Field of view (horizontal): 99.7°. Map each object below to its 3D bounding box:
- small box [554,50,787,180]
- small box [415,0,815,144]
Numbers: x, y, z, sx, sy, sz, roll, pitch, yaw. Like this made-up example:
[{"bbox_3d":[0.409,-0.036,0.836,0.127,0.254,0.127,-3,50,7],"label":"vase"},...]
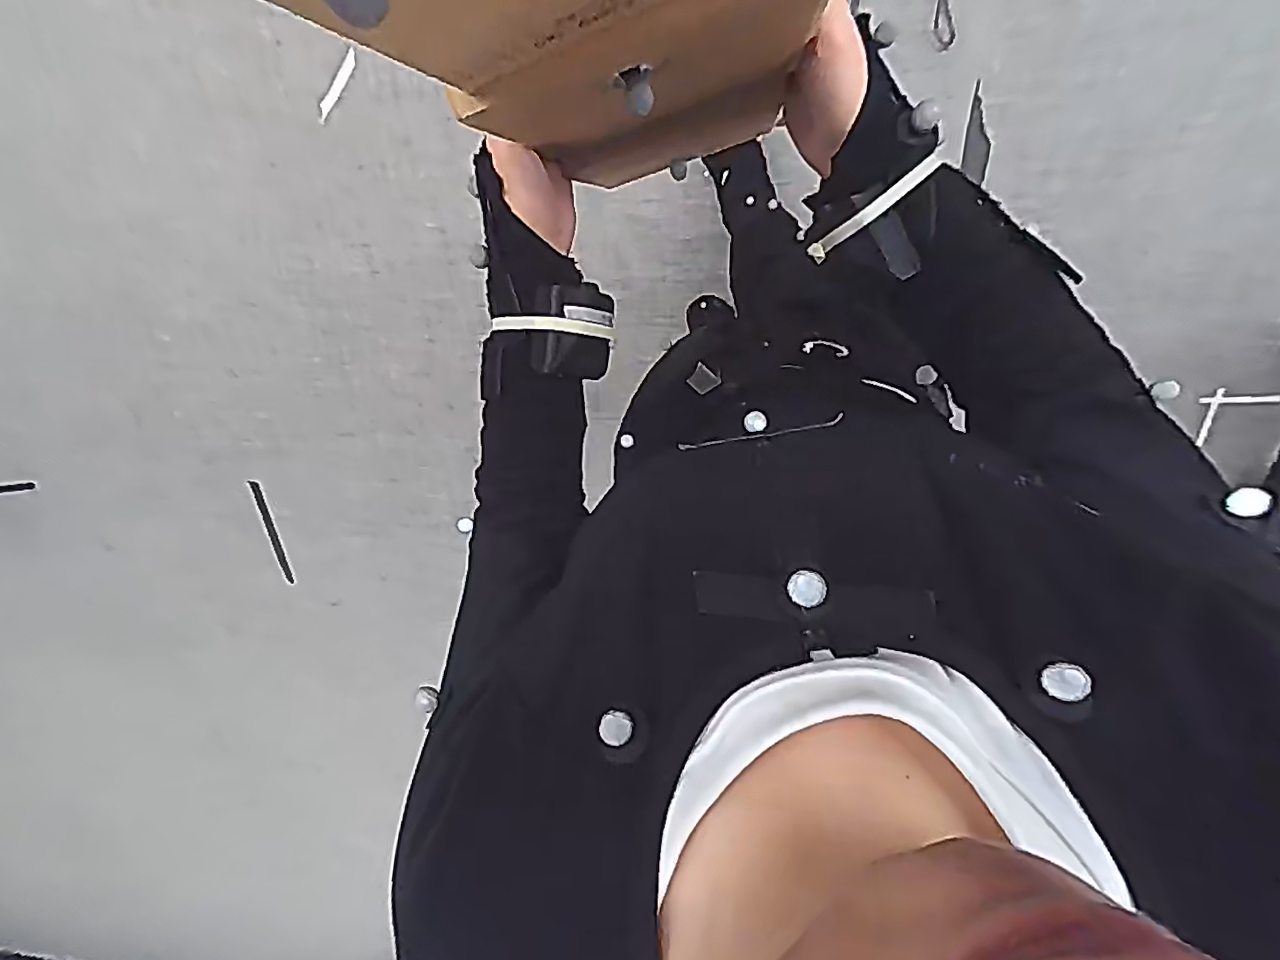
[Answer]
[{"bbox_3d":[0.009,-0.351,0.413,0.168,0.176,0.179,-11,114,15],"label":"small box"},{"bbox_3d":[-0.013,-0.289,0.264,0.179,0.176,0.168,-12,113,16],"label":"small box"}]
